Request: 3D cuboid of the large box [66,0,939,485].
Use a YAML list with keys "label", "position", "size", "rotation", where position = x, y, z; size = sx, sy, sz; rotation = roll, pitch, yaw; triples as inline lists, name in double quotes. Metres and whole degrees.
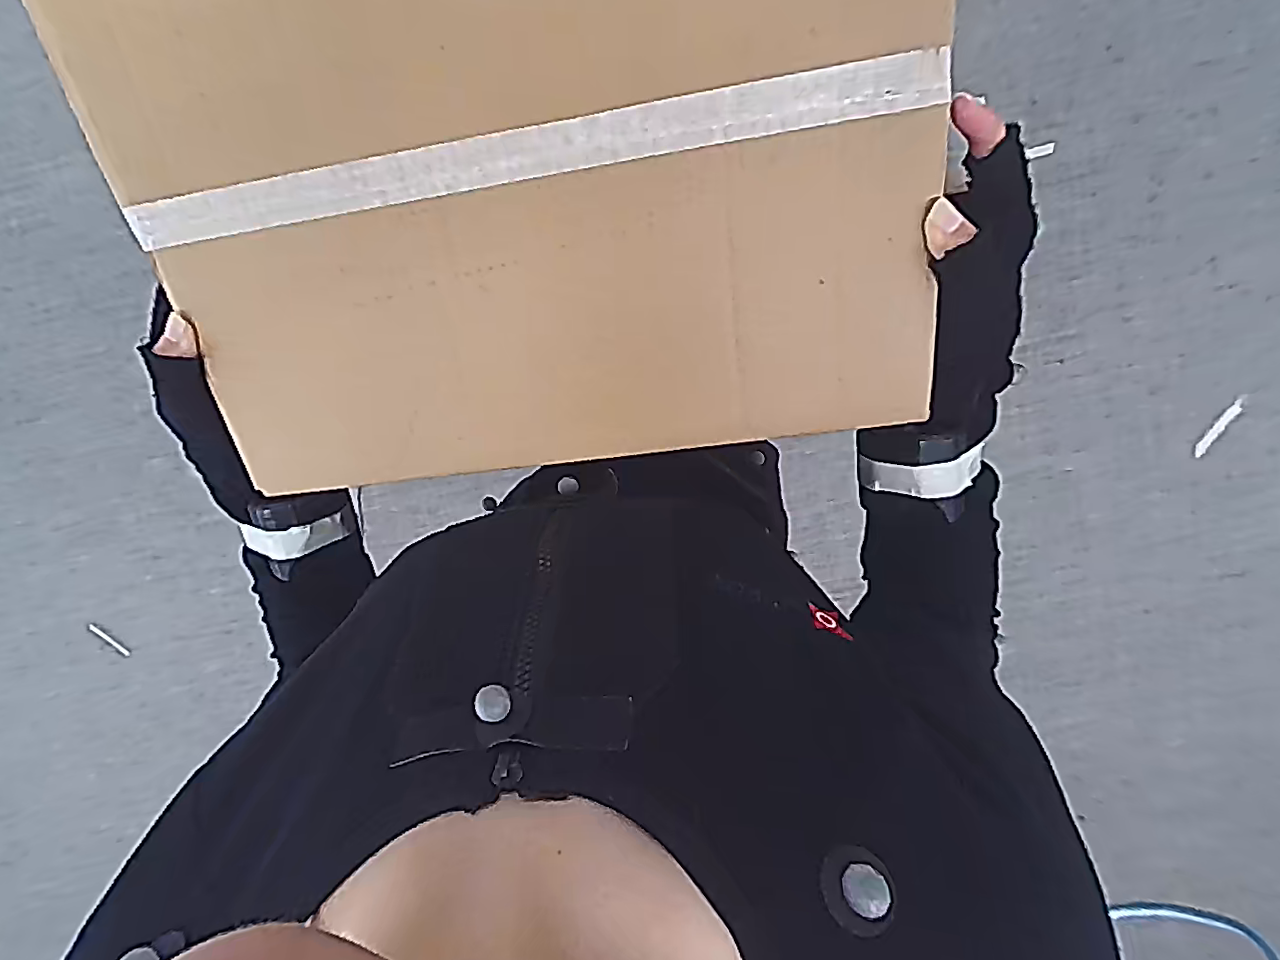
- label: "large box"
  position: [-0.053, -0.217, 0.407]
  size: [0.408, 0.320, 0.320]
  rotation: [-6, 114, 7]
